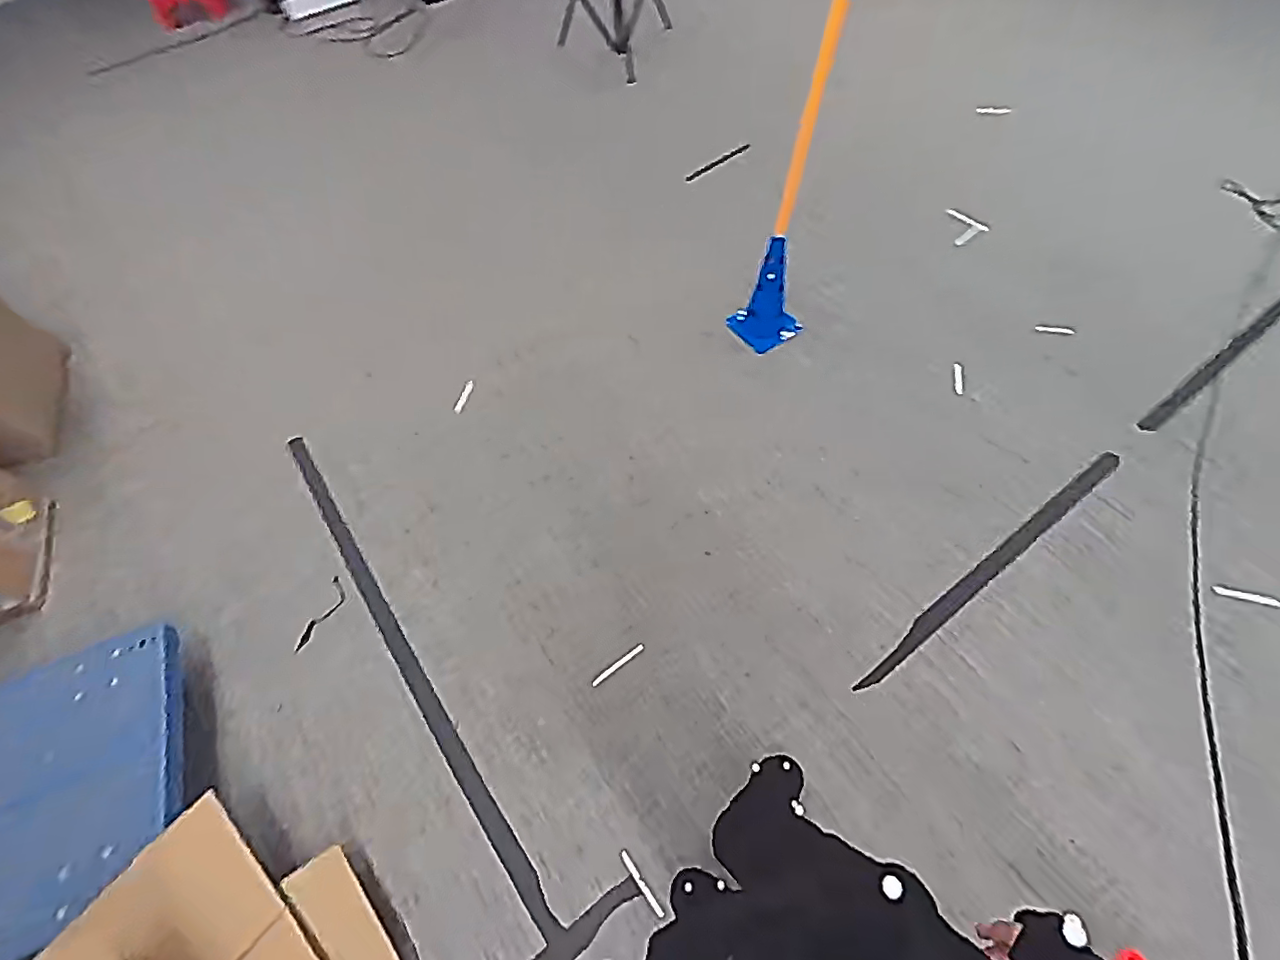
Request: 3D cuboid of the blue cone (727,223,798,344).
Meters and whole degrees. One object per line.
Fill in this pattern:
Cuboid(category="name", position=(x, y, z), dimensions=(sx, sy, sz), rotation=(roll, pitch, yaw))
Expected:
Cuboid(category="blue cone", position=(0.406, -0.634, 1.712), dimensions=(0.192, 0.380, 0.193), rotation=(-31, 64, -13))
